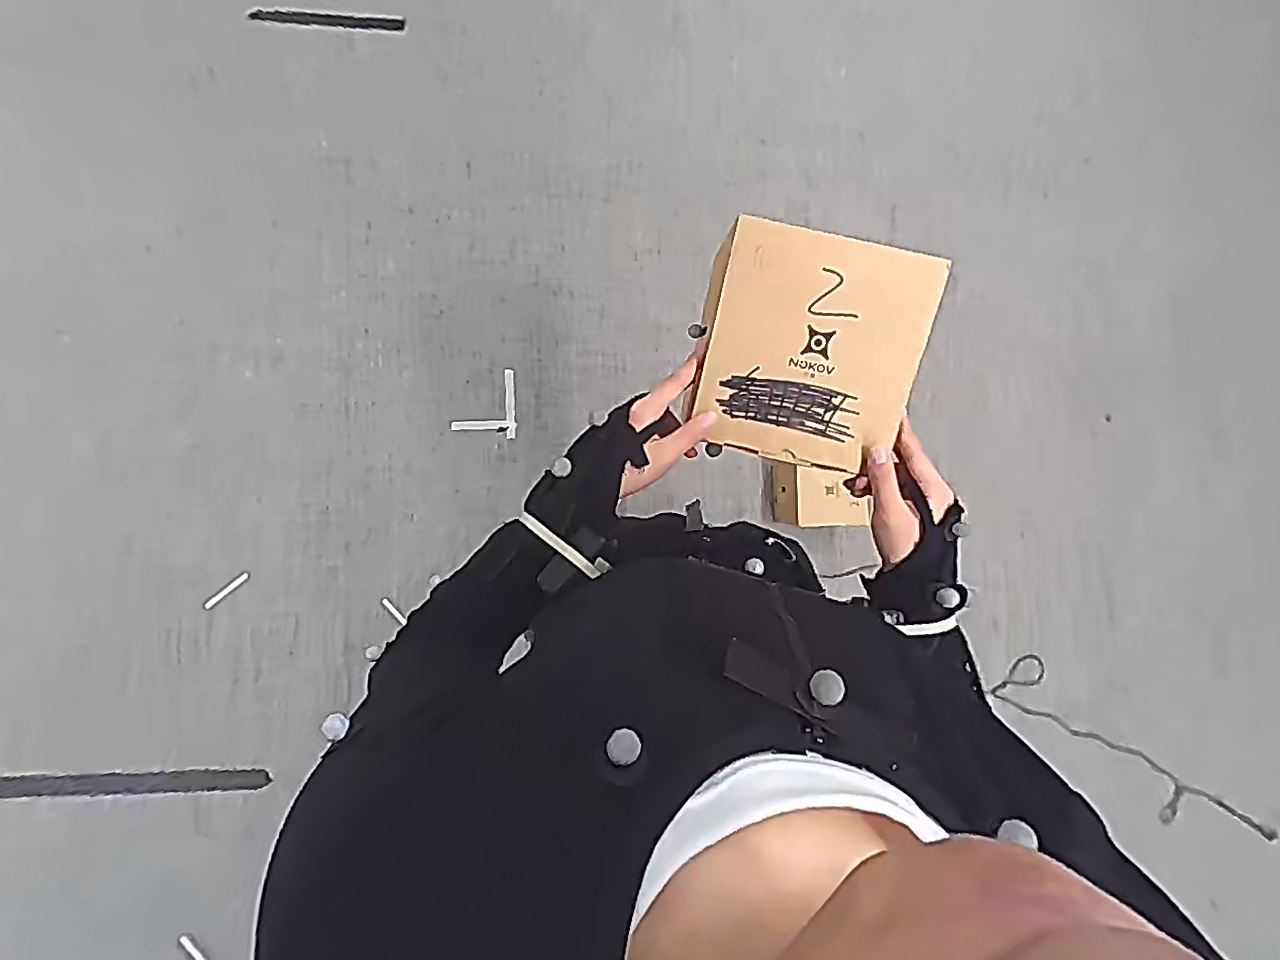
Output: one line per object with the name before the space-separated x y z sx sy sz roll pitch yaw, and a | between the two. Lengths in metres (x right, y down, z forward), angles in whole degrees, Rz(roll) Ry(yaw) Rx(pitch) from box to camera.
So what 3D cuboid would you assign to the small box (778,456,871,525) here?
small box | 0.449 0.027 1.344 0.179 0.176 0.168 -1 90 -5
